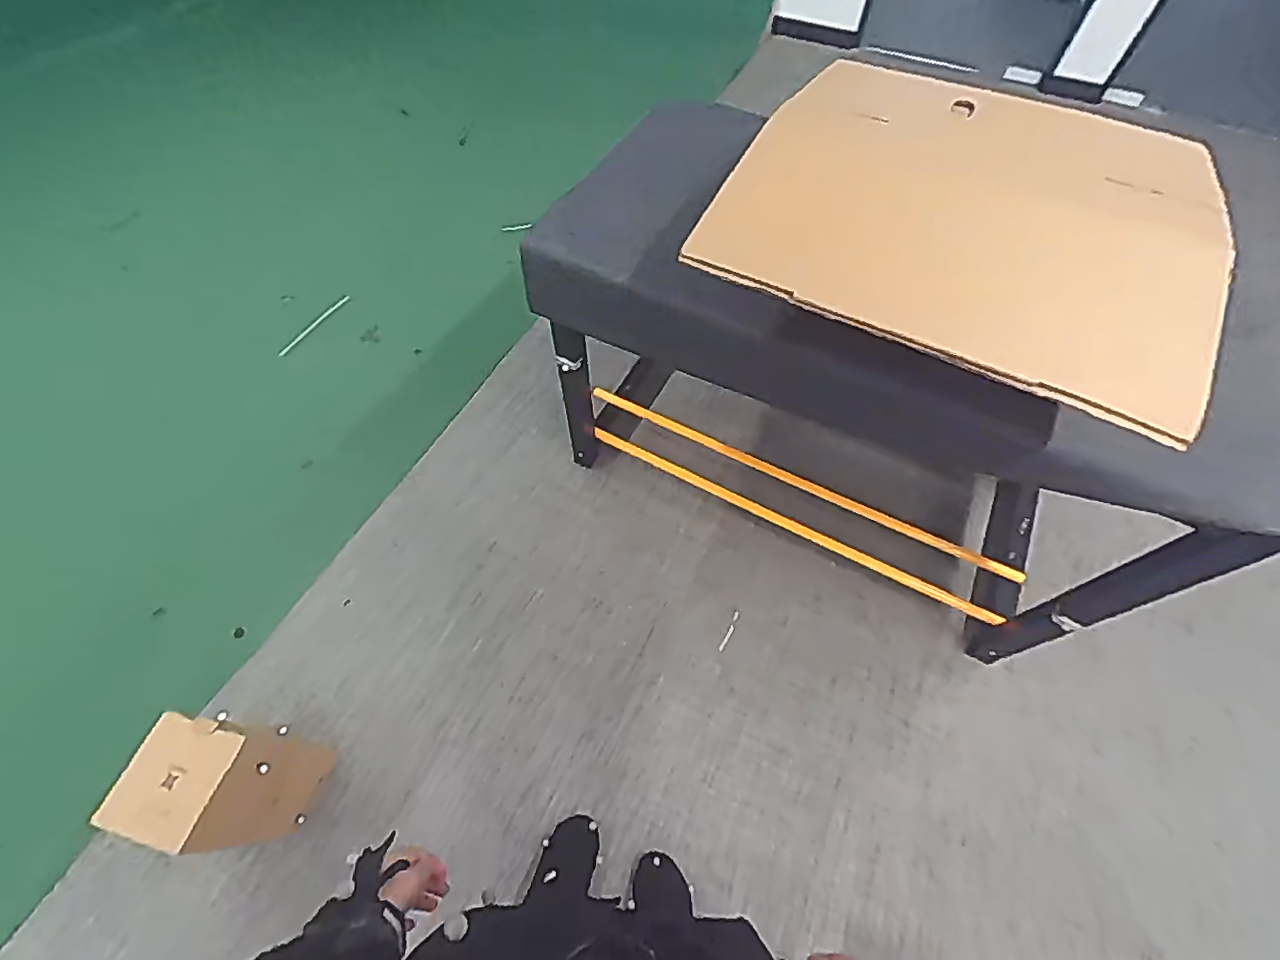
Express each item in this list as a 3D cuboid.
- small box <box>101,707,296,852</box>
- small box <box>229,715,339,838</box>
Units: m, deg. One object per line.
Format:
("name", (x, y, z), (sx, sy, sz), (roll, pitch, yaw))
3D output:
("small box", (-0.753, 0.524, 0.953), (0.168, 0.176, 0.179), (13, 61, 8))
("small box", (-0.760, 0.598, 1.098), (0.179, 0.176, 0.168), (15, 60, 9))
